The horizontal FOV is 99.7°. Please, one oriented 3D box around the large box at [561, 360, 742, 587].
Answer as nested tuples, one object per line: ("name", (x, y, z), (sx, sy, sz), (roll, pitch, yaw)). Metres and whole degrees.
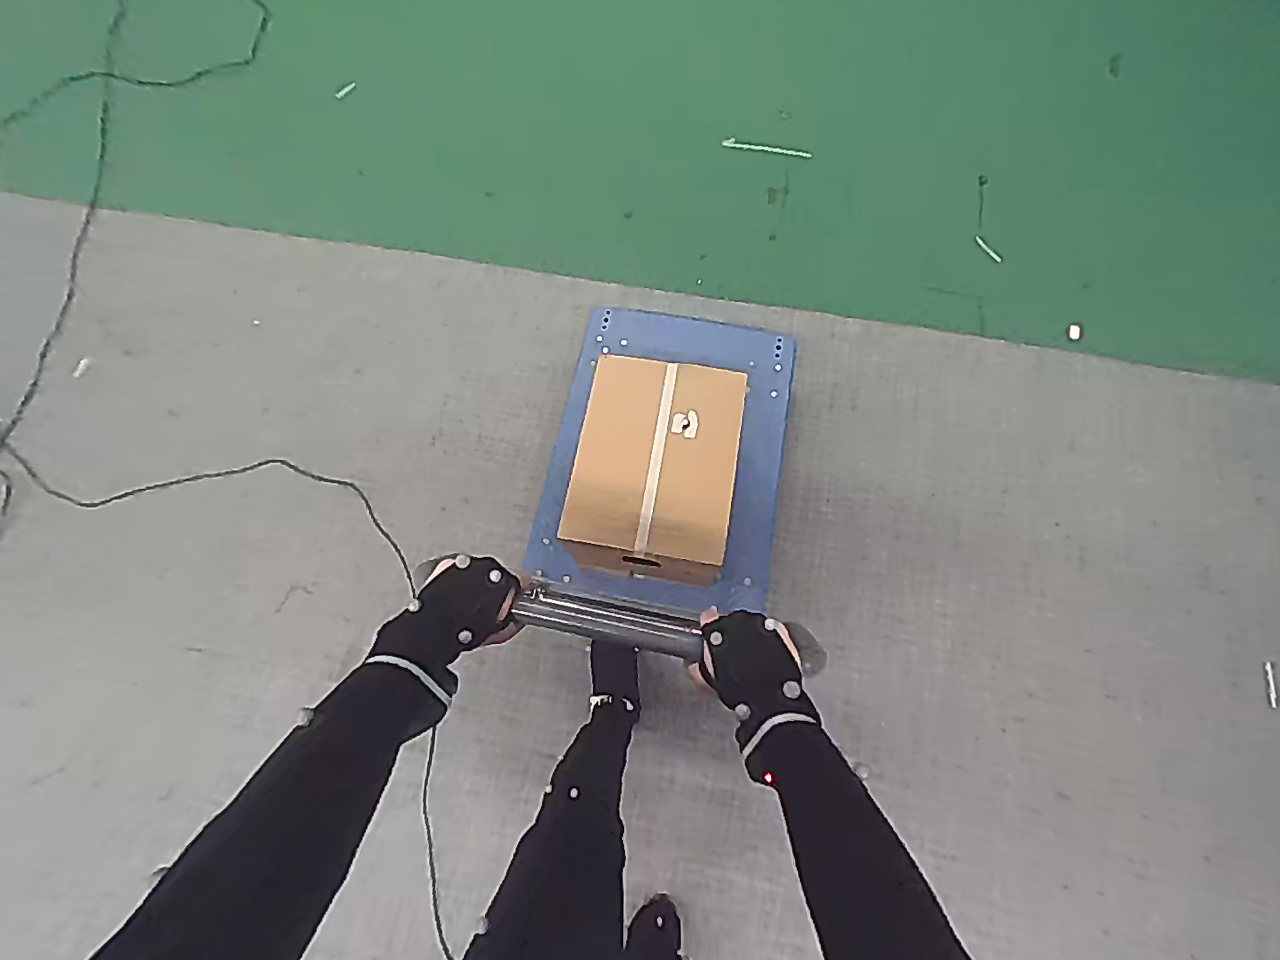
("large box", (0.036, 0.001, 1.205), (0.320, 0.320, 0.408), (9, 71, 5))
